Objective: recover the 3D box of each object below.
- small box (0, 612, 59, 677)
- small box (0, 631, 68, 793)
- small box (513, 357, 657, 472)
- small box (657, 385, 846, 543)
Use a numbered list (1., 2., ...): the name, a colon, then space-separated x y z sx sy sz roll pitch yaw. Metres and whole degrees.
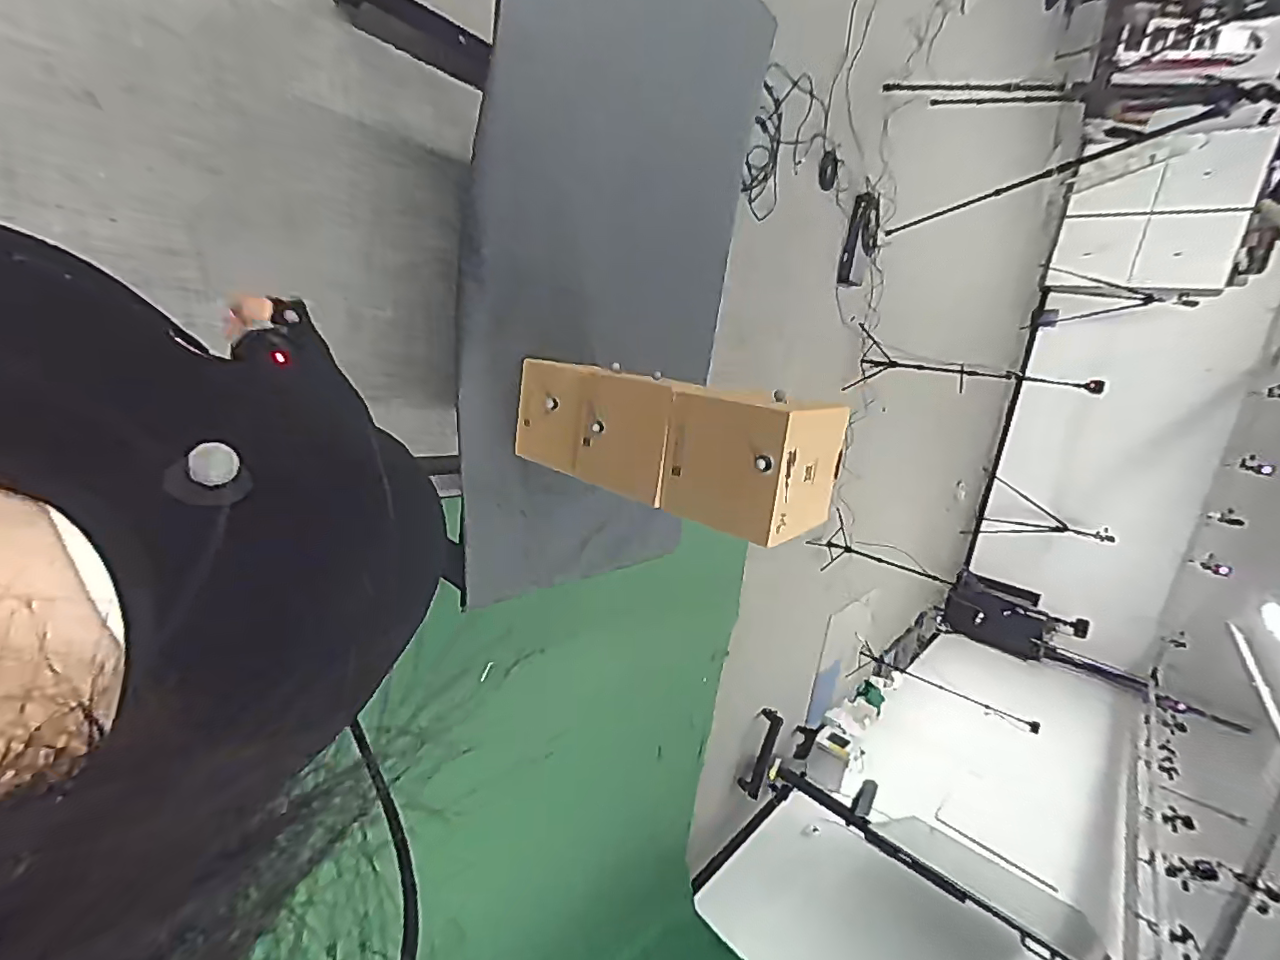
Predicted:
1. small box: -1.084 0.305 0.849 0.179 0.176 0.168 -57 137 -16
2. small box: -0.958 0.346 0.751 0.179 0.176 0.168 -34 127 -37
3. small box: -0.098 -0.115 0.925 0.179 0.176 0.168 -7 110 -49
4. small box: 0.146 -0.034 0.721 0.179 0.176 0.168 -12 113 -48
